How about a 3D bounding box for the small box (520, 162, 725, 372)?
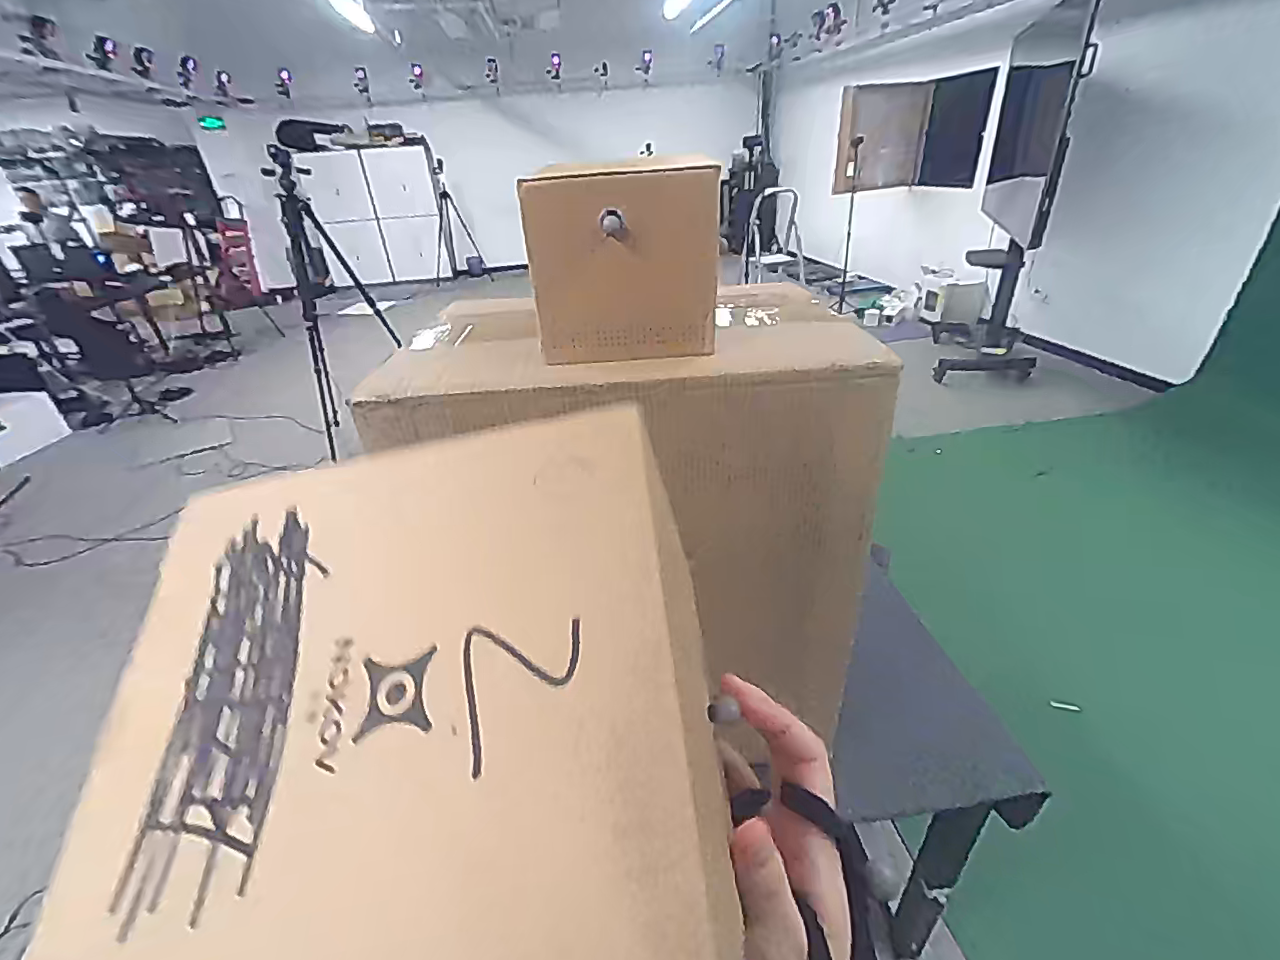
[{"bbox_3d":[-0.011,-0.223,0.563,0.179,0.176,0.168,-3,34,2],"label":"small box"}]
